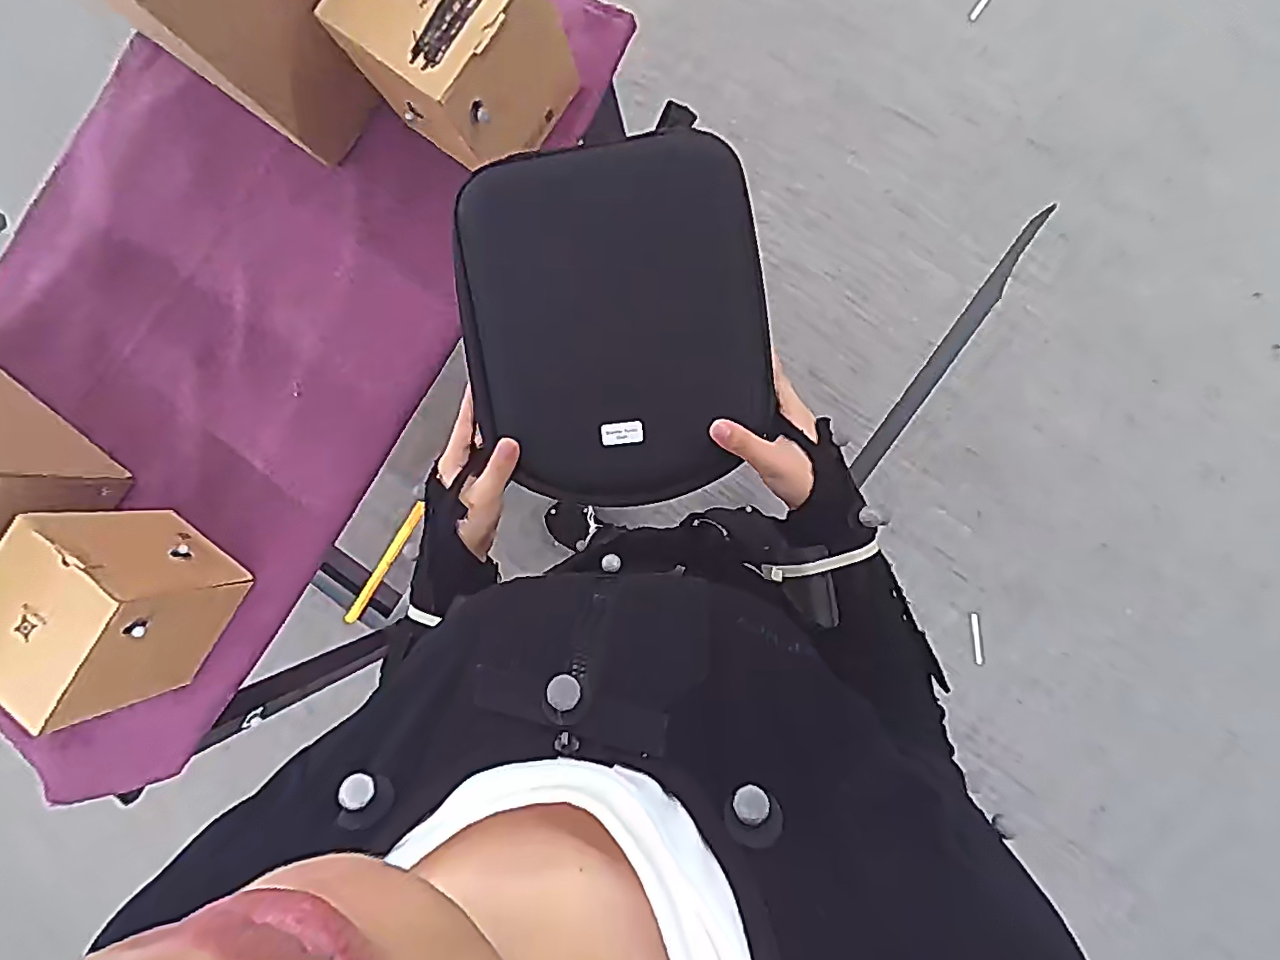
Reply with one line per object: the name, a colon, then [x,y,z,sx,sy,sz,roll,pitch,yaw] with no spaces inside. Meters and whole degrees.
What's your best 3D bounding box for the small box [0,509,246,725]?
small box: [-0.641,0.151,0.663,0.168,0.176,0.179,33,92,8]
